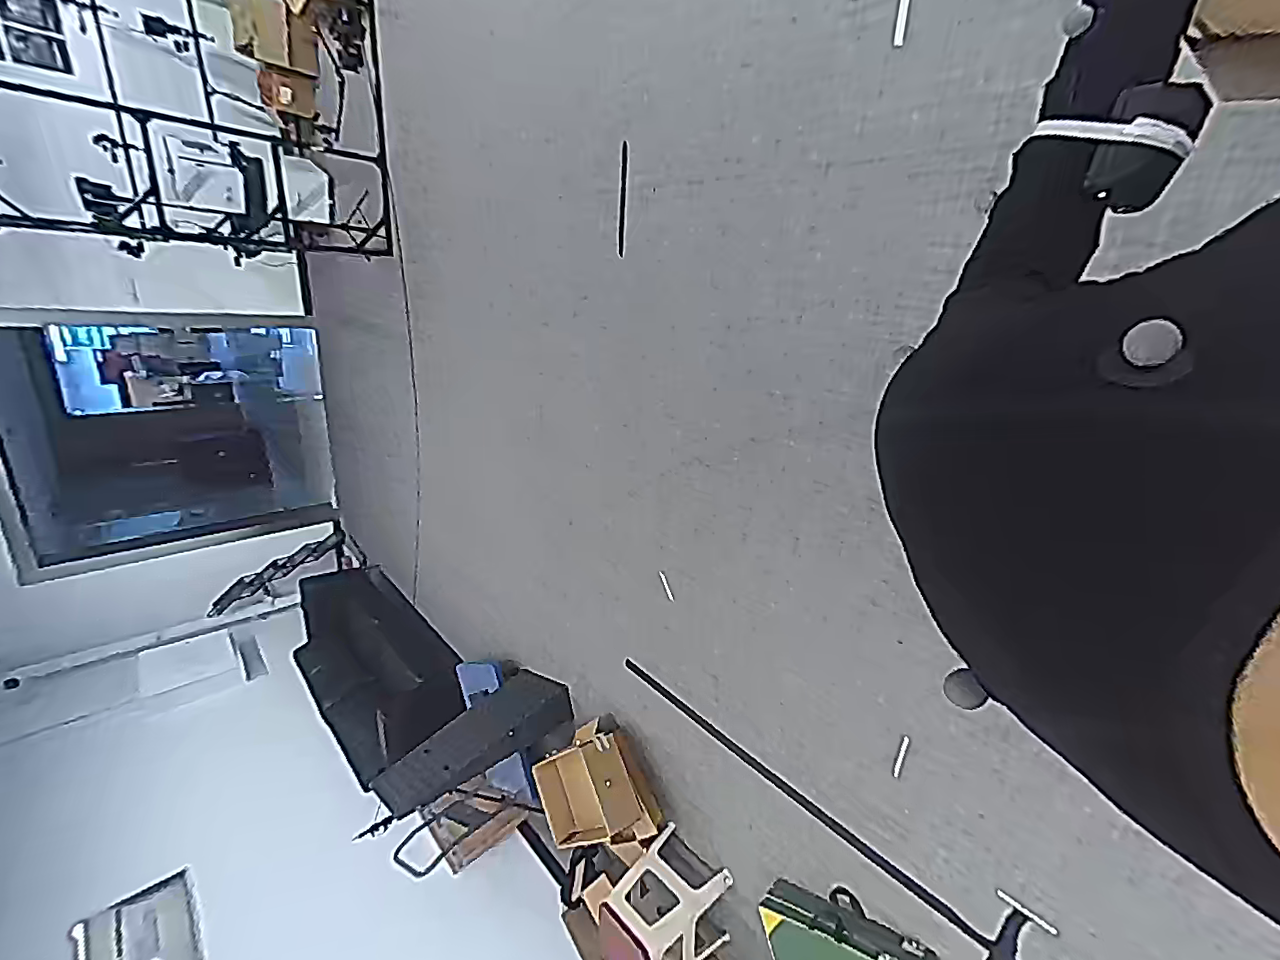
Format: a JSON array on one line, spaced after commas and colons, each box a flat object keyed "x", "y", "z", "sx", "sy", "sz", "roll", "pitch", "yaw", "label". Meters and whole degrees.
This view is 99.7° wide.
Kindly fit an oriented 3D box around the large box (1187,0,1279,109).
[{"x": 0.585, "y": -0.380, "z": 0.239, "sx": 0.408, "sy": 0.320, "sz": 0.320, "roll": 28, "pitch": 128, "yaw": 38, "label": "large box"}]
